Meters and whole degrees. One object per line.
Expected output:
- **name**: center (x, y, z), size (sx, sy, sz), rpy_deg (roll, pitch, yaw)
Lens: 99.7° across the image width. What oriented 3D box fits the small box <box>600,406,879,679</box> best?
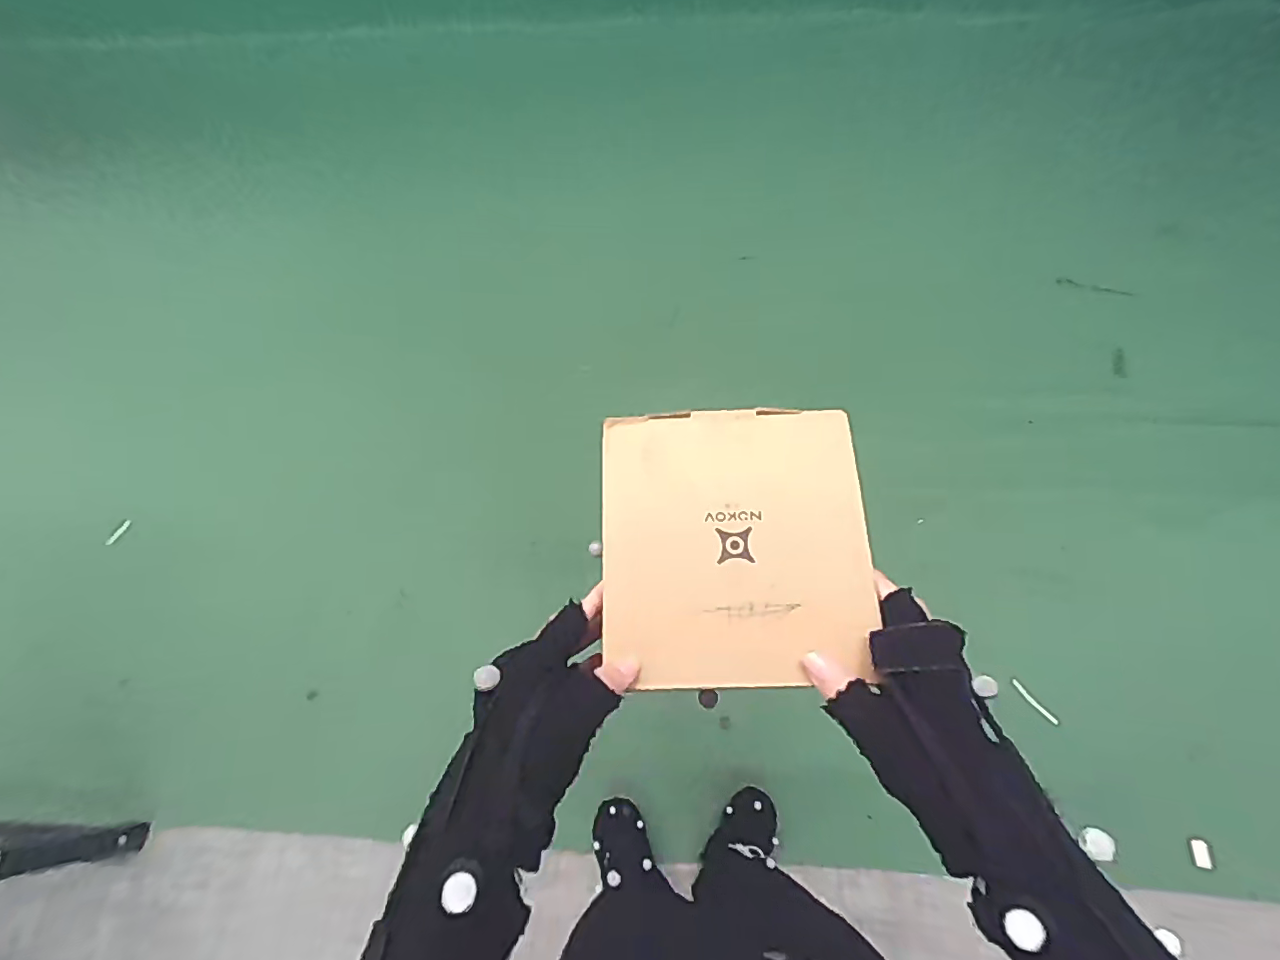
- **small box**: center (0.059, 0.058, 0.417), size (0.168, 0.176, 0.179), rpy_deg (-2, 72, 2)
